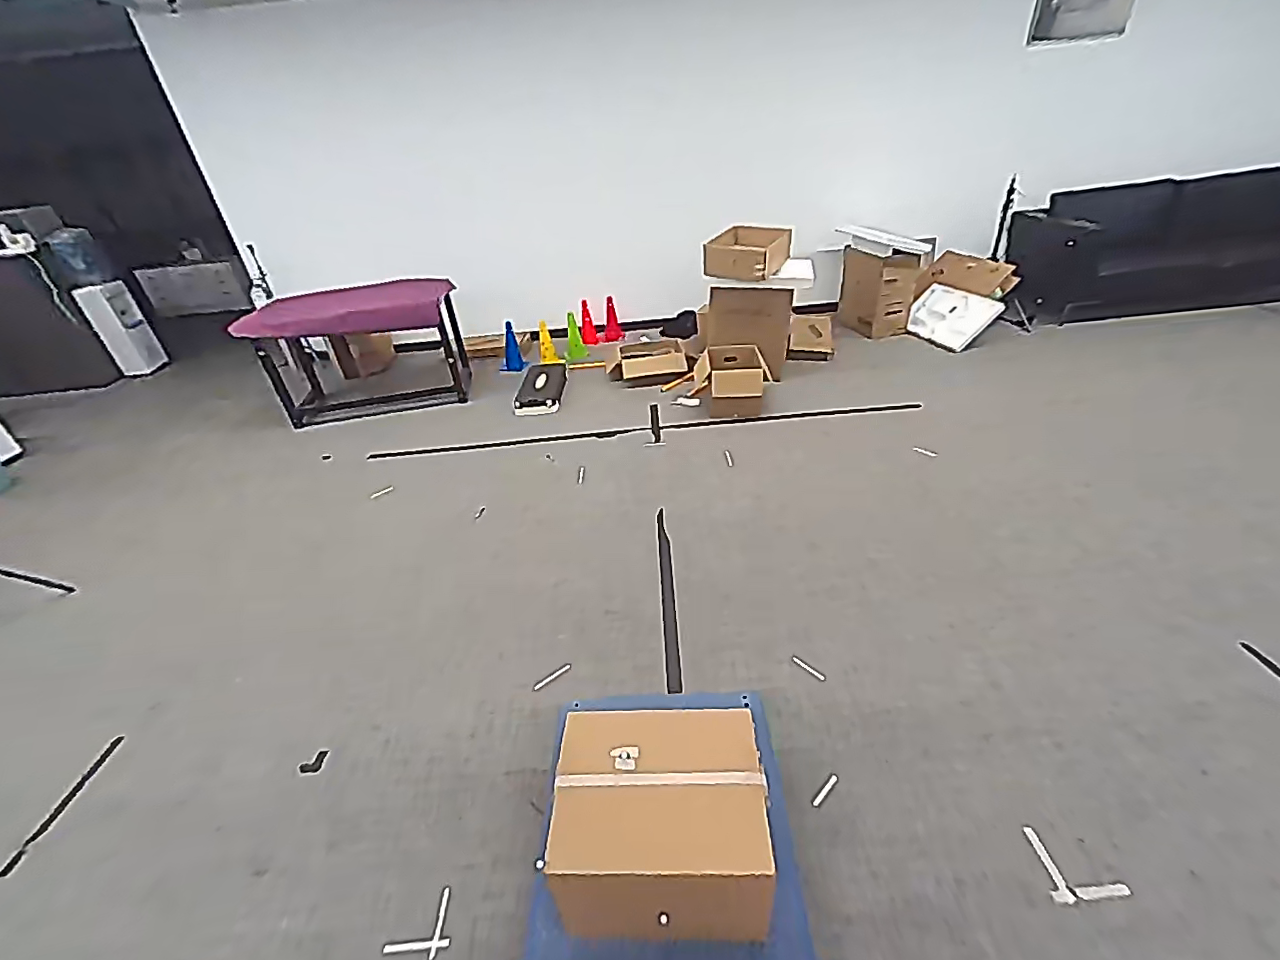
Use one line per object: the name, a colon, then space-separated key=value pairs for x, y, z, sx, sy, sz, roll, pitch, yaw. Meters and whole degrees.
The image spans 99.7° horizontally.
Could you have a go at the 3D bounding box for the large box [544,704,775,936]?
large box: x=0.049 y=0.704 z=1.125 sx=0.408 sy=0.320 sz=0.320 roll=-4 pitch=32 yaw=5
